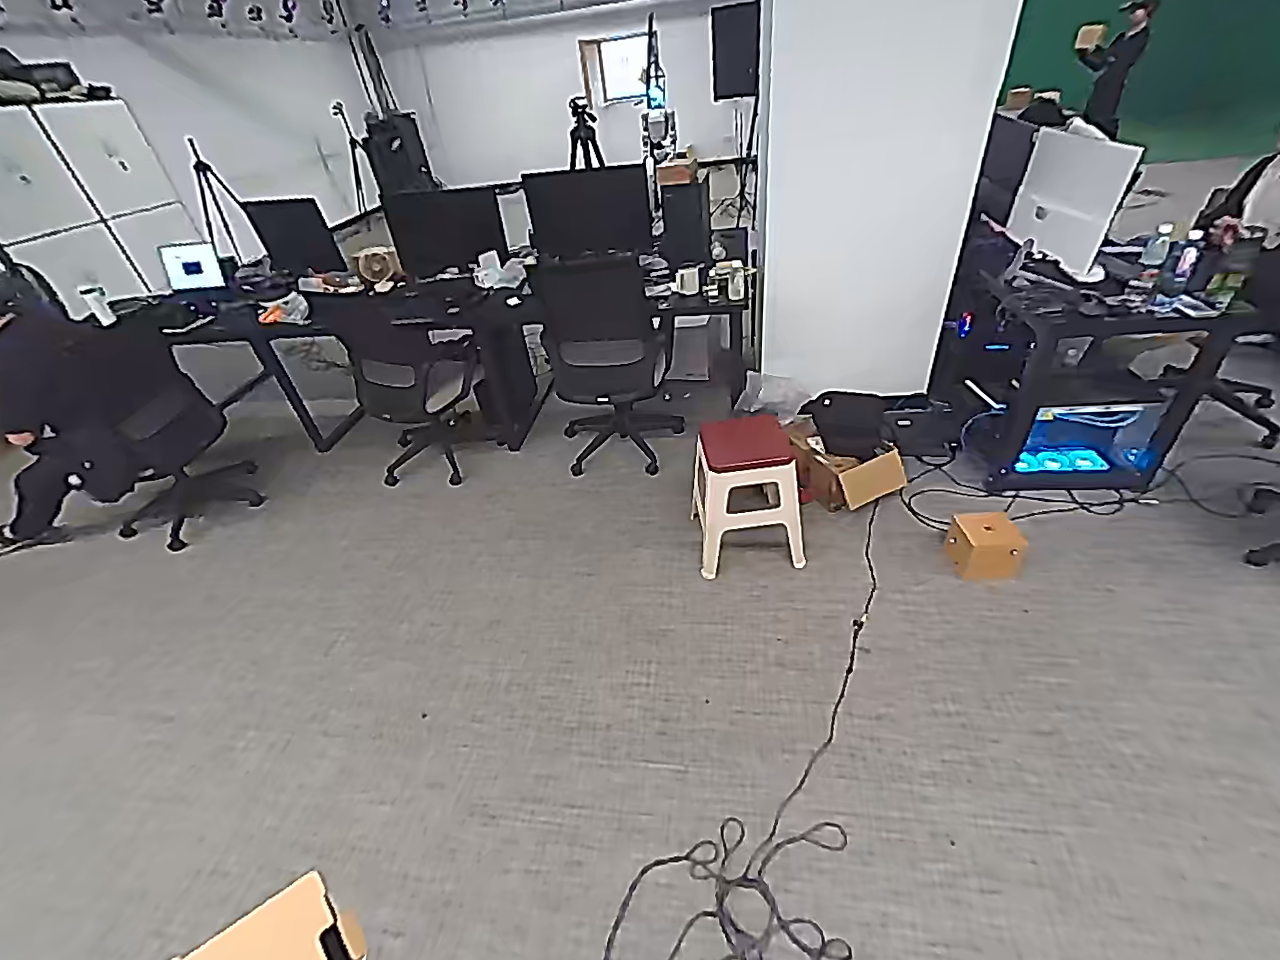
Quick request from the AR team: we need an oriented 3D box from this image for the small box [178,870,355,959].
[{"bbox_3d":[-0.380,0.554,0.542,0.179,0.176,0.168,-21,52,-41],"label":"small box"}]
